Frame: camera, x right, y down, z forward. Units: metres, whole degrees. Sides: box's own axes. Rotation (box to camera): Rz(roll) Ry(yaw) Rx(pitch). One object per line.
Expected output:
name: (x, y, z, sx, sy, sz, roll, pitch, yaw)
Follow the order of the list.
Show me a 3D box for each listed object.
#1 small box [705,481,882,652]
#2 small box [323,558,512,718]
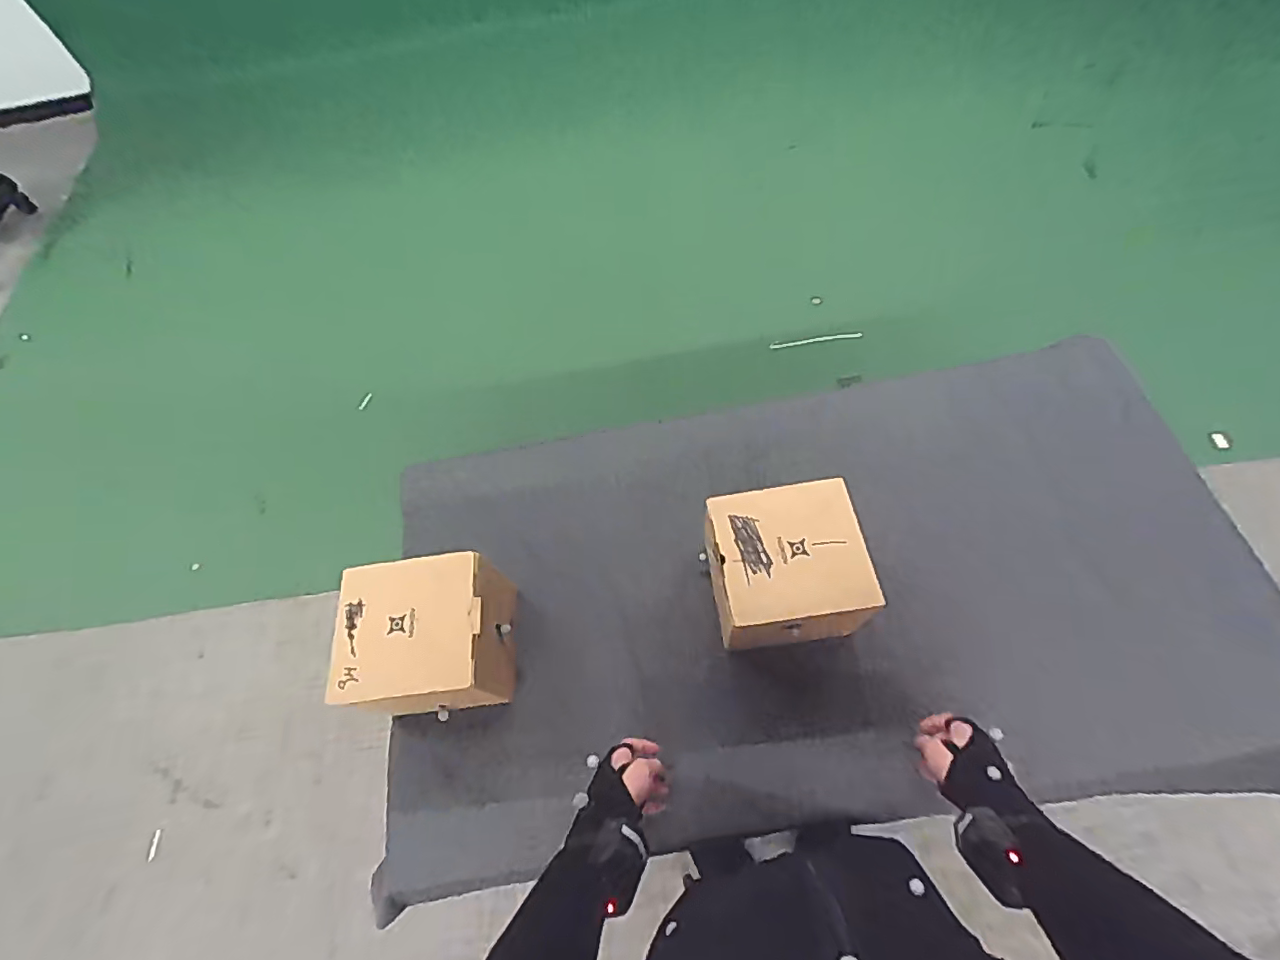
small box: (0.184, 0.120, 0.710, 0.179, 0.176, 0.168, -9, 63, 1)
small box: (-0.274, 0.214, 0.715, 0.179, 0.176, 0.168, -8, 62, 2)
